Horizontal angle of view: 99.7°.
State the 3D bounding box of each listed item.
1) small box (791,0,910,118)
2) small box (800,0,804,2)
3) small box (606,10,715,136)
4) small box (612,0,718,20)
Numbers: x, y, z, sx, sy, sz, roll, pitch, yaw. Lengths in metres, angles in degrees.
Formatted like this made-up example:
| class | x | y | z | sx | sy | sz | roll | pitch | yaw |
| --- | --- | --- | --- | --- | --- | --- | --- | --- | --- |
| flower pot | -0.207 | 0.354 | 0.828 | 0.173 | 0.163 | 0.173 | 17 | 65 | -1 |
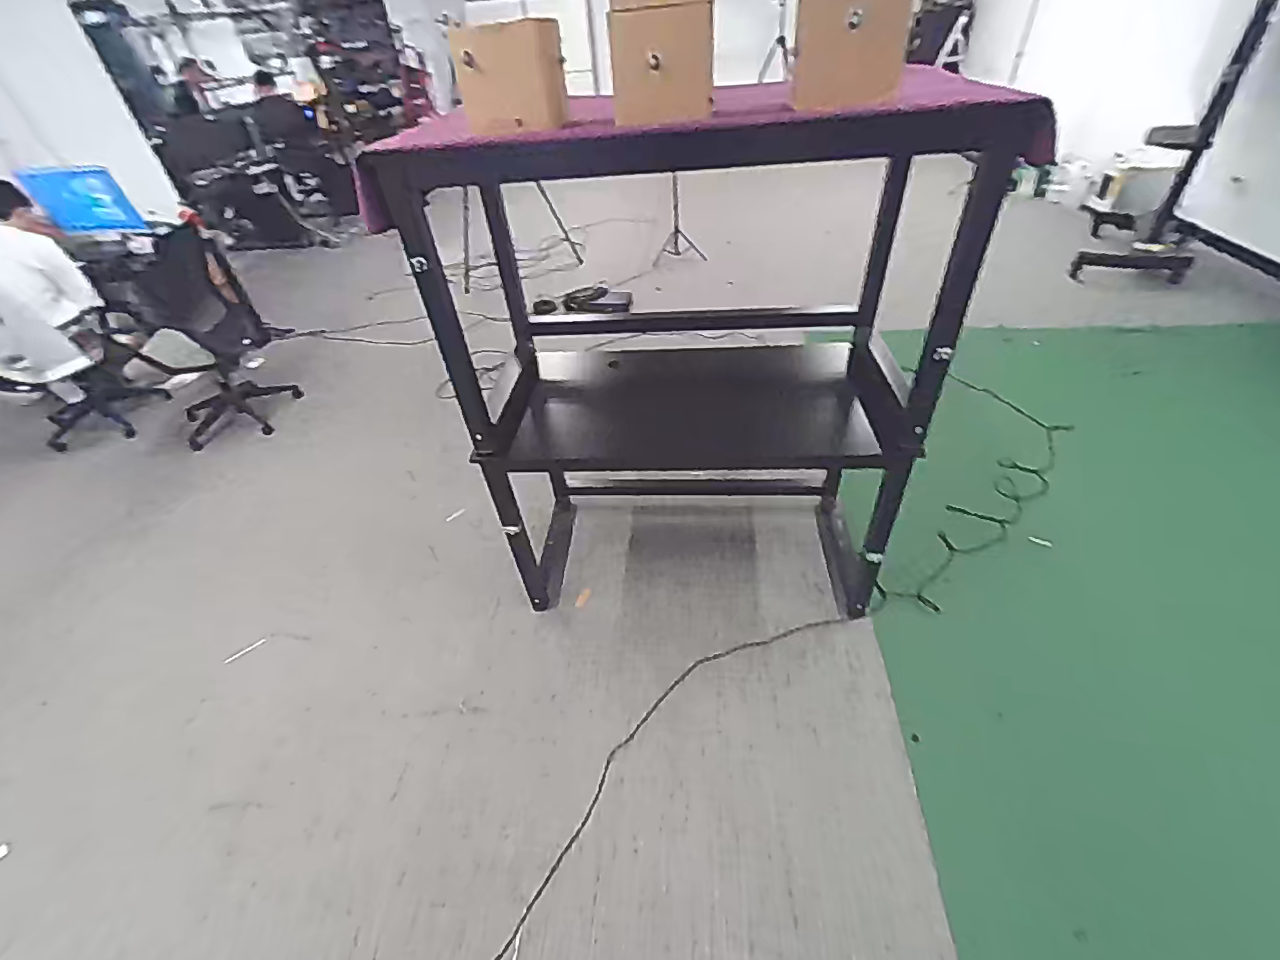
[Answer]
| class | x | y | z | sx | sy | sz | roll | pitch | yaw |
| --- | --- | --- | --- | --- | --- | --- | --- | --- | --- |
| small box | 0.372 | -0.773 | 0.986 | 0.179 | 0.176 | 0.168 | 2 | 41 | 10 |
| small box | 0.356 | -0.902 | 0.885 | 0.168 | 0.176 | 0.179 | 1 | 41 | 9 |
| small box | 0.048 | -0.763 | 1.014 | 0.179 | 0.176 | 0.168 | 2 | 40 | 11 |
| small box | 0.040 | -0.892 | 0.913 | 0.179 | 0.176 | 0.168 | 0 | 41 | 9 |
